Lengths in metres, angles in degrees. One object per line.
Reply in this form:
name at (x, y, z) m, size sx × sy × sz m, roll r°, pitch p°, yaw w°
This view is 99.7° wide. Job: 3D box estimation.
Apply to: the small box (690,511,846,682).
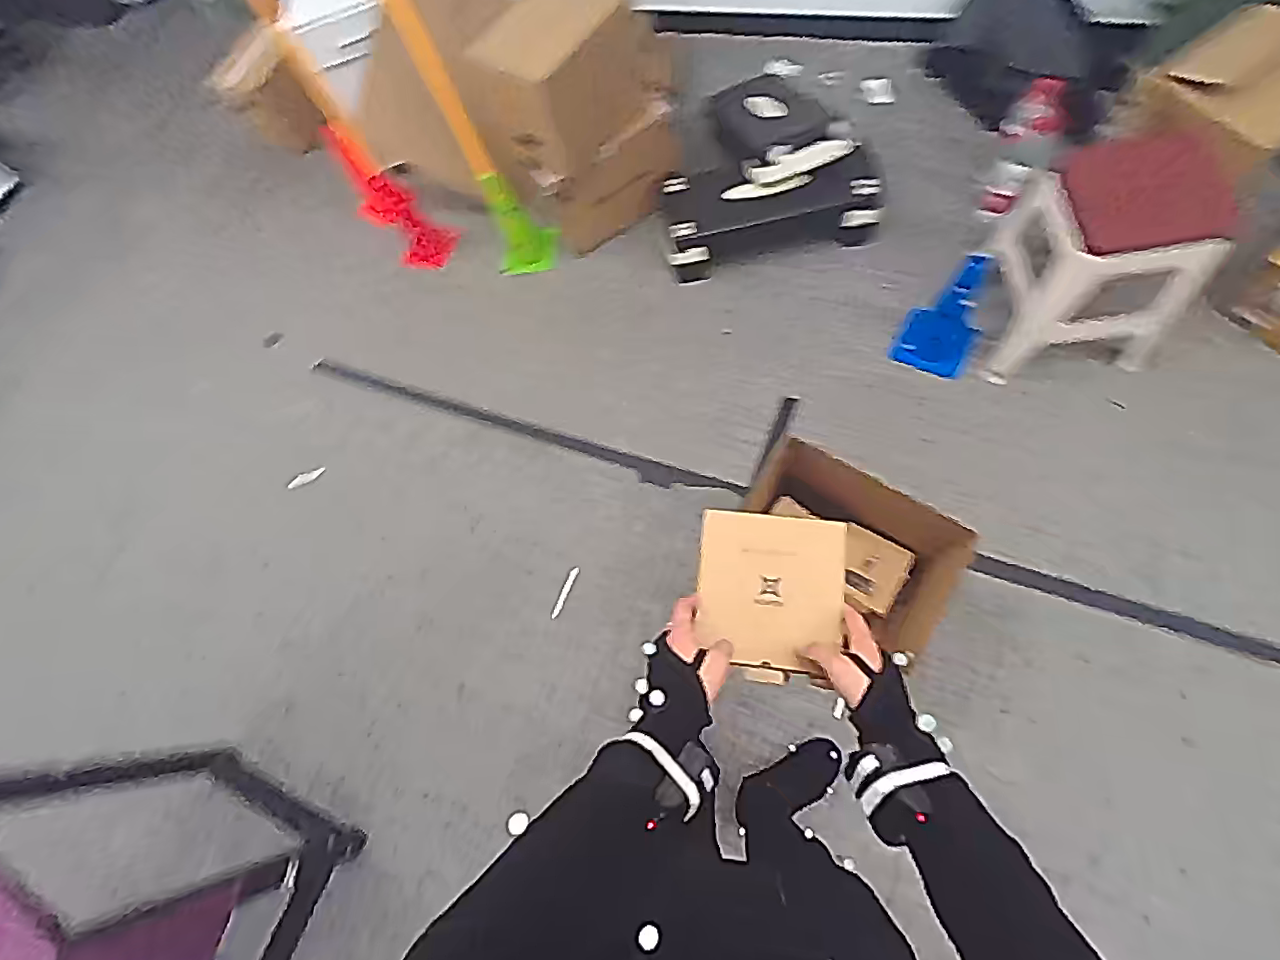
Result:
small box at (0.152, 0.147, 0.686) m, size 0.168 × 0.176 × 0.179 m, roll 5°, pitch 76°, yaw 5°
